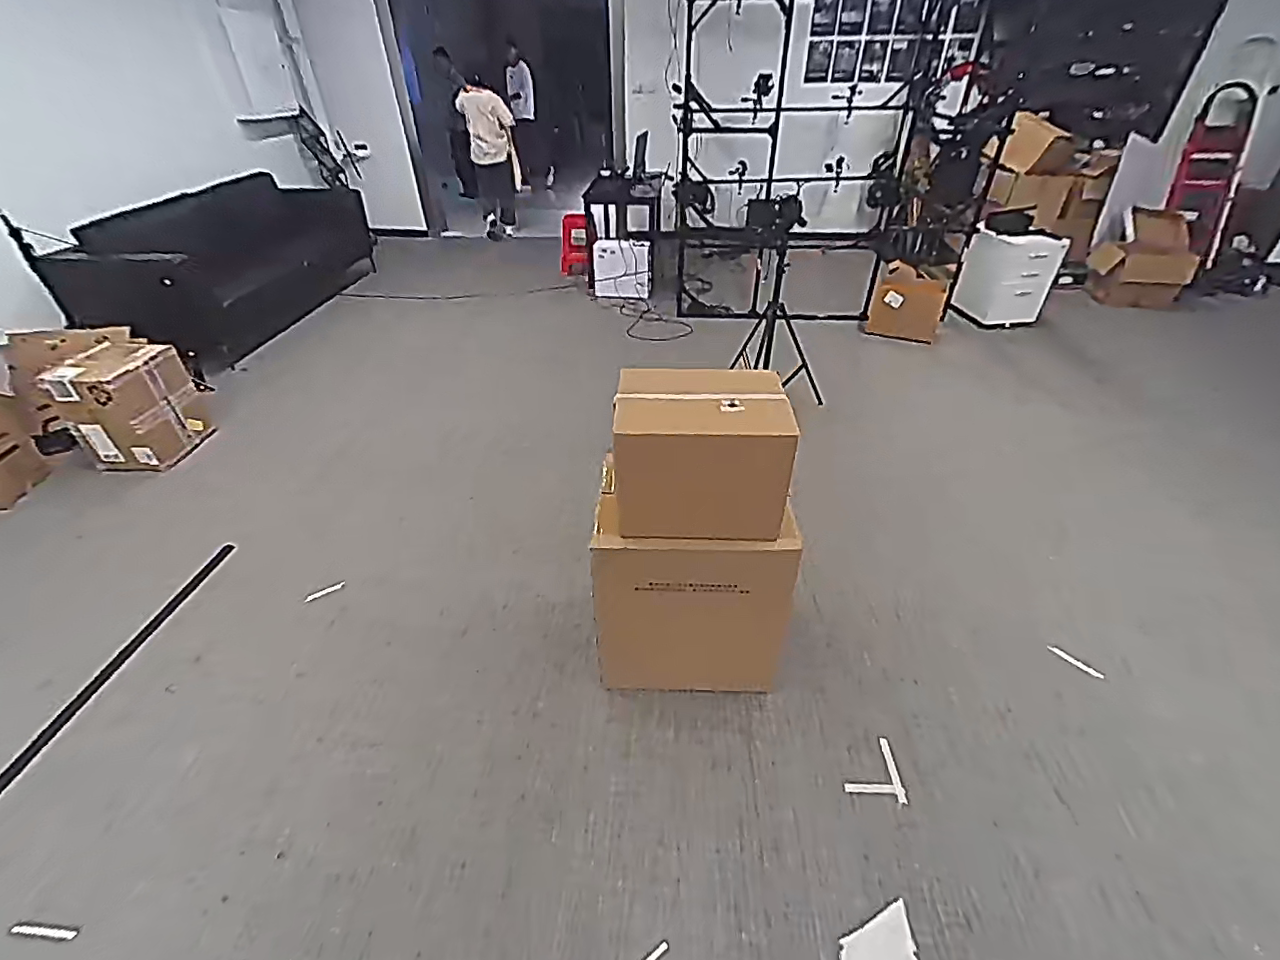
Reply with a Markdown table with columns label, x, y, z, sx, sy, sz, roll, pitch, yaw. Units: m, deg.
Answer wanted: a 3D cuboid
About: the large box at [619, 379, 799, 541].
| label | x | y | z | sx | sy | sz | roll | pitch | yaw |
| --- | --- | --- | --- | --- | --- | --- | --- | --- | --- |
| large box | 0.151 | -0.055 | 1.385 | 0.408 | 0.320 | 0.320 | 1 | 38 | 1 |
